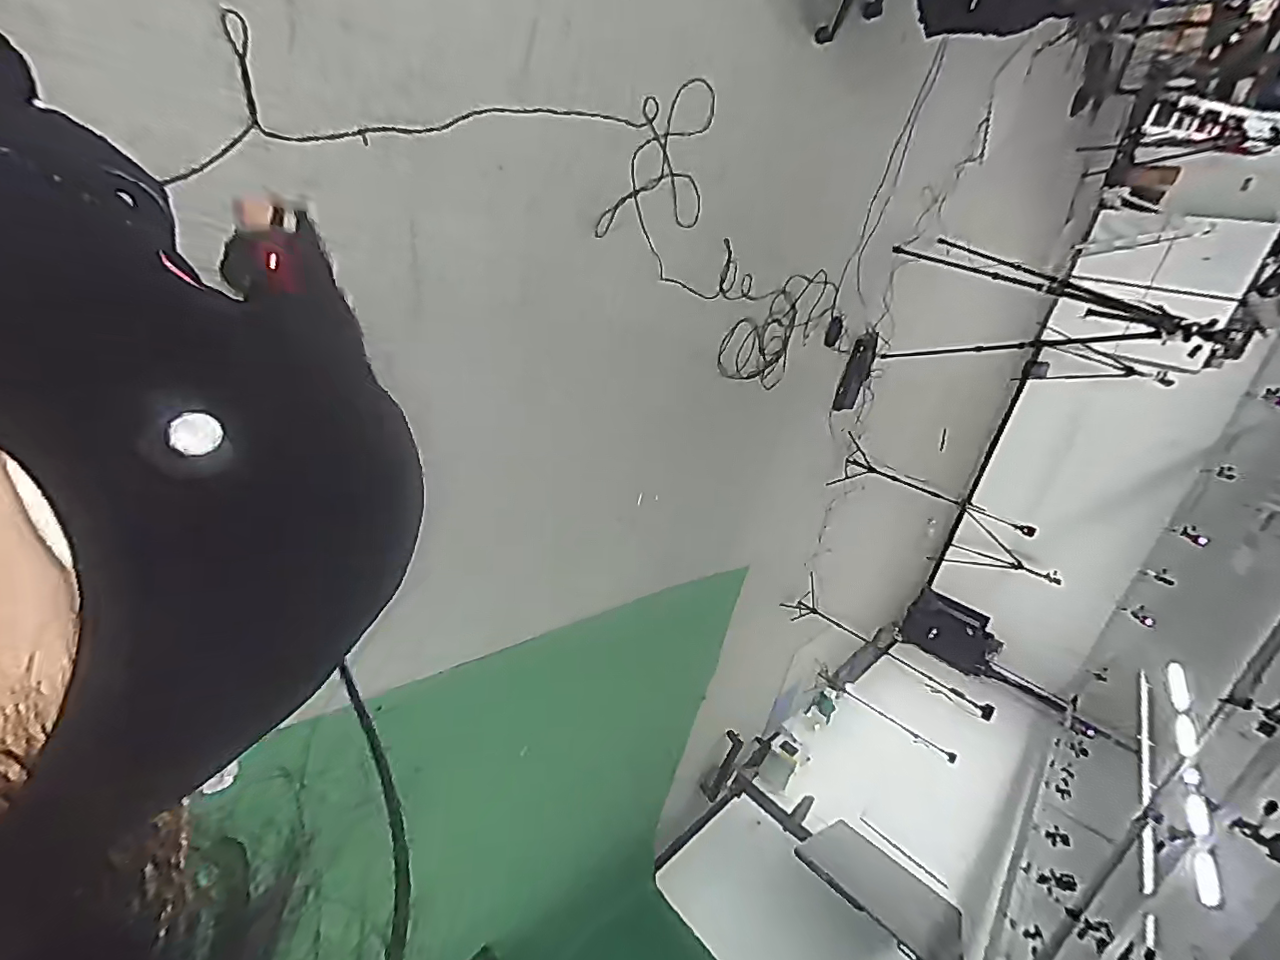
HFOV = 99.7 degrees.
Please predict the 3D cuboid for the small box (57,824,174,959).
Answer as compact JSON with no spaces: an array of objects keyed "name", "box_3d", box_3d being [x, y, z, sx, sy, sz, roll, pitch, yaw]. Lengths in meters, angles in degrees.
[{"name":"small box","box_3d":[-1.179,0.928,1.215,0.179,0.176,0.168,-3,114,-47]}]
